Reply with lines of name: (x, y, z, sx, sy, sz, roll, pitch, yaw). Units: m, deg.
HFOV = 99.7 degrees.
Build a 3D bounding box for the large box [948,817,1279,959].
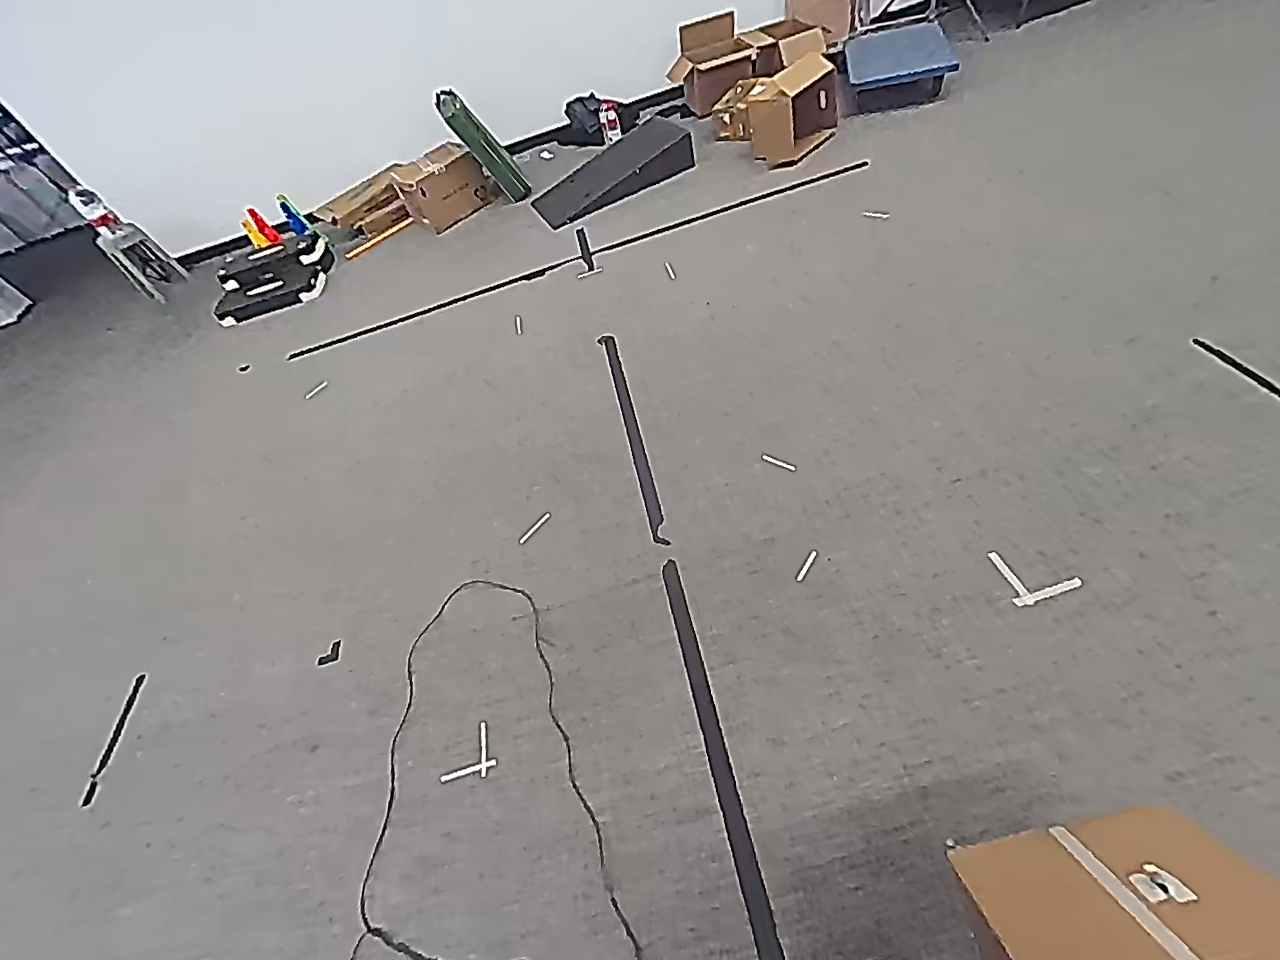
large box: (0.621, 0.659, 0.585, 0.320, 0.408, 0.320, -16, 85, 7)
